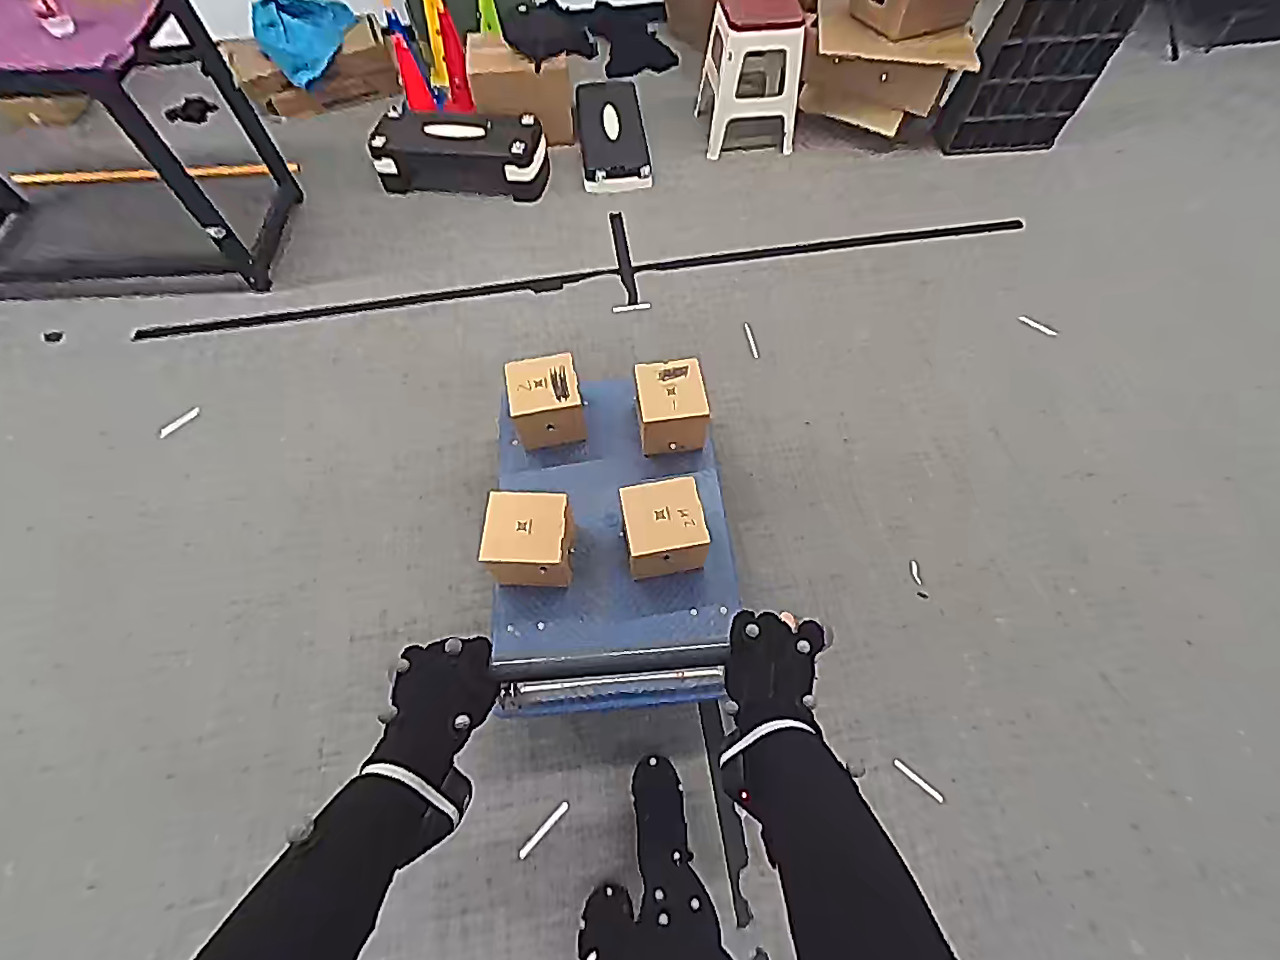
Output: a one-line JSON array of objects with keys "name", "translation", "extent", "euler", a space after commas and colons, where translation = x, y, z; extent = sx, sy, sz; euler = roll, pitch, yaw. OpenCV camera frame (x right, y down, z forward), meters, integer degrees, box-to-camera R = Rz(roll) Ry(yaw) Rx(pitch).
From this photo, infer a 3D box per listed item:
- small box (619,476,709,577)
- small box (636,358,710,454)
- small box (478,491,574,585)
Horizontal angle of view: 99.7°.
[{"name": "small box", "translation": [0.052, 0.113, 1.246], "extent": [0.179, 0.176, 0.168], "euler": [-9, 64, -4]}, {"name": "small box", "translation": [0.078, -0.189, 1.399], "extent": [0.168, 0.176, 0.179], "euler": [-7, 64, -3]}, {"name": "small box", "translation": [-0.251, 0.137, 1.236], "extent": [0.179, 0.176, 0.168], "euler": [2, 62, 0]}]
